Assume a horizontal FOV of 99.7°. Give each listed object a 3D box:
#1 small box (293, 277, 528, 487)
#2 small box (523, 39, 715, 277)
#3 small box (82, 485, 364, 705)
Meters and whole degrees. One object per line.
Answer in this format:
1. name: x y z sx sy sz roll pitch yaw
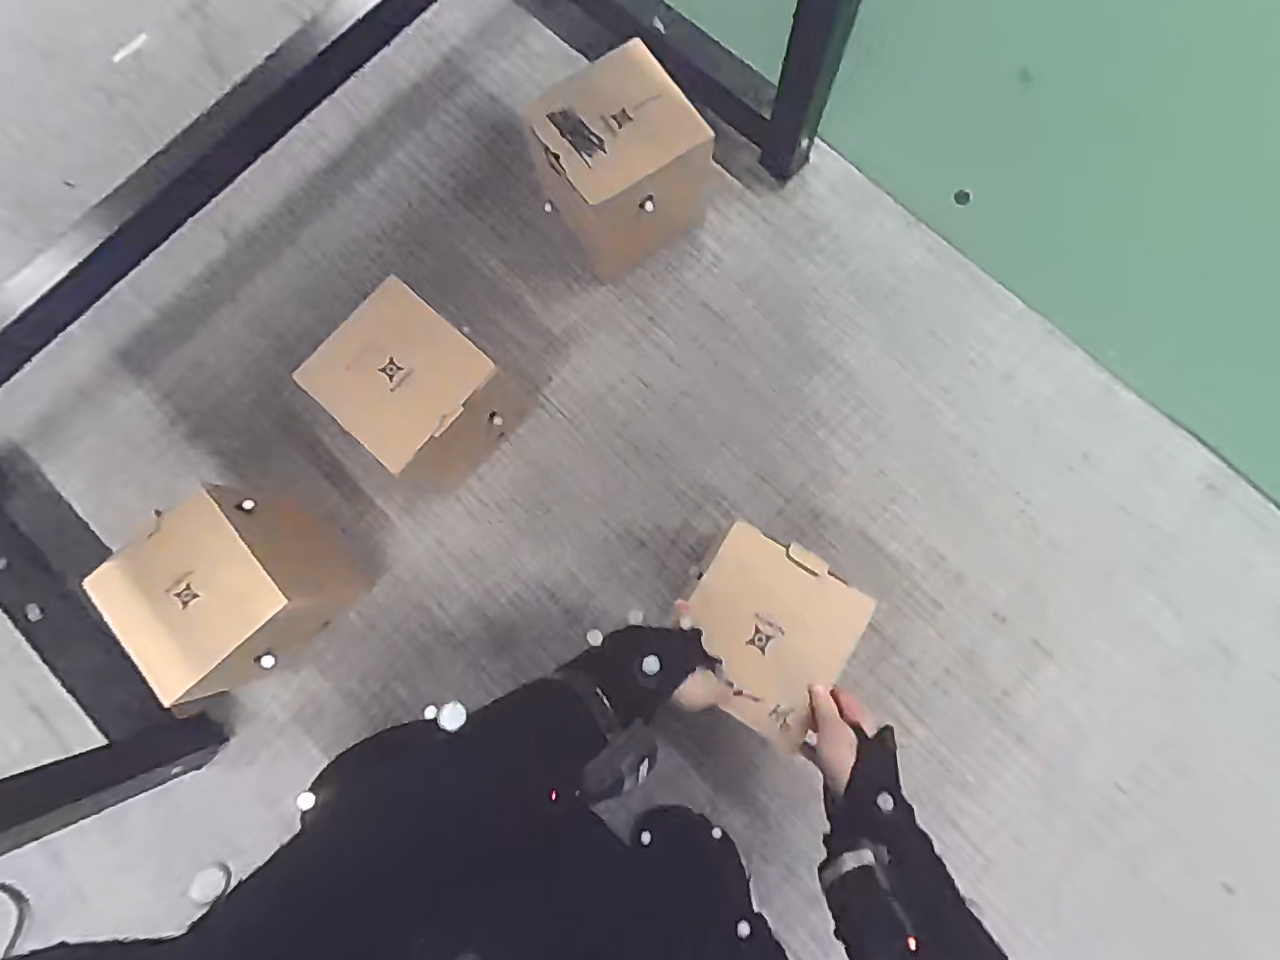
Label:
1. small box: -0.267 -0.106 0.676 0.179 0.176 0.168 41 84 9
2. small box: -0.023 -0.406 0.711 0.179 0.176 0.168 -33 82 -4
3. small box: -0.480 0.129 0.652 0.168 0.176 0.179 -42 81 -3
